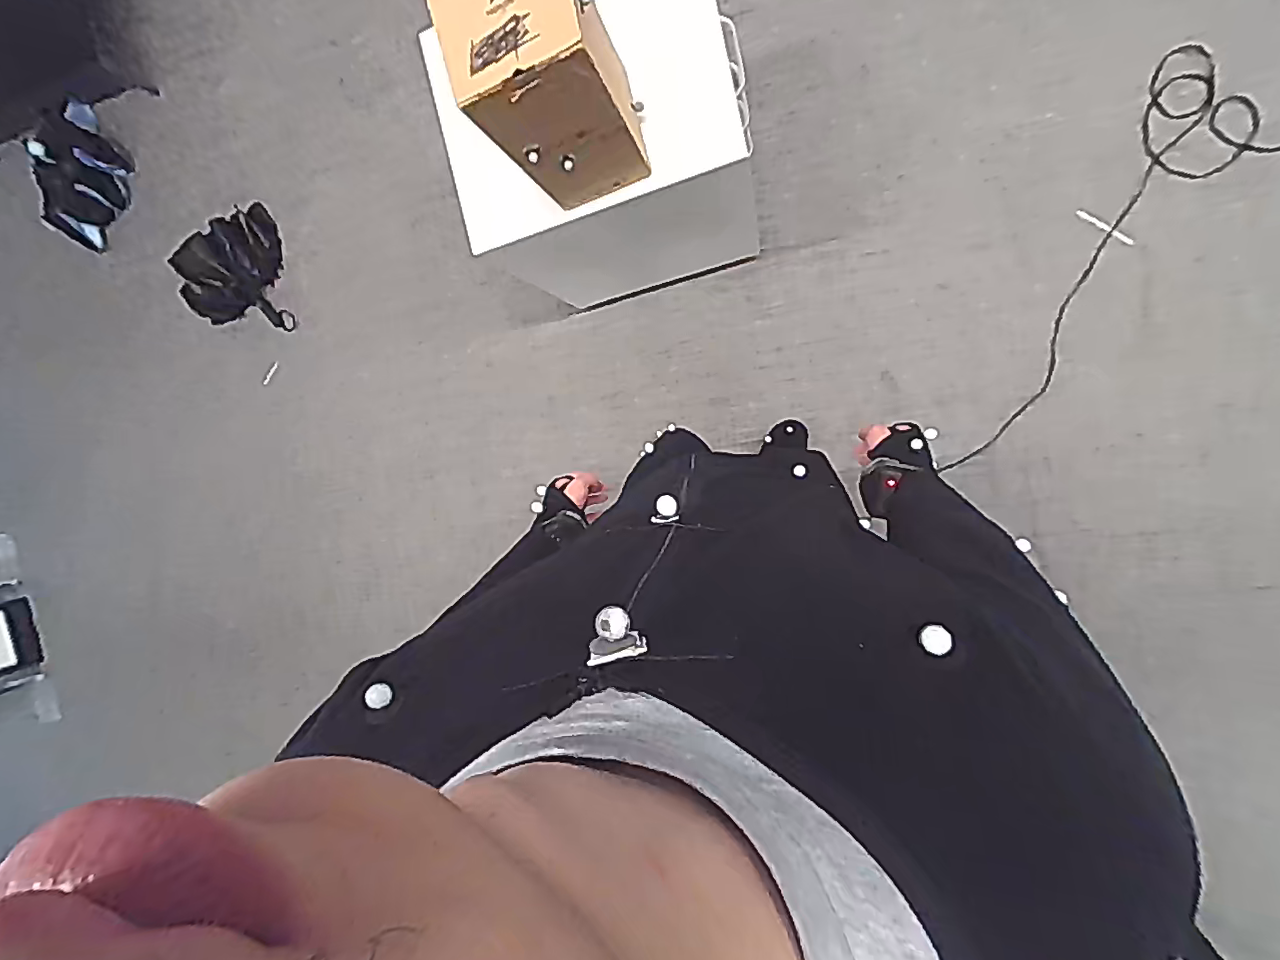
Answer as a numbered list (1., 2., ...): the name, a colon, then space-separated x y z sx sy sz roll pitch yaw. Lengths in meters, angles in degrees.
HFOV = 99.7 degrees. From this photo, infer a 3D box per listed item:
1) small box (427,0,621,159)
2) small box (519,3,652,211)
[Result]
1. small box: -0.136 -0.537 0.675 0.168 0.176 0.179 -15 91 15
2. small box: -0.095 -0.555 0.834 0.168 0.176 0.179 -16 91 16
